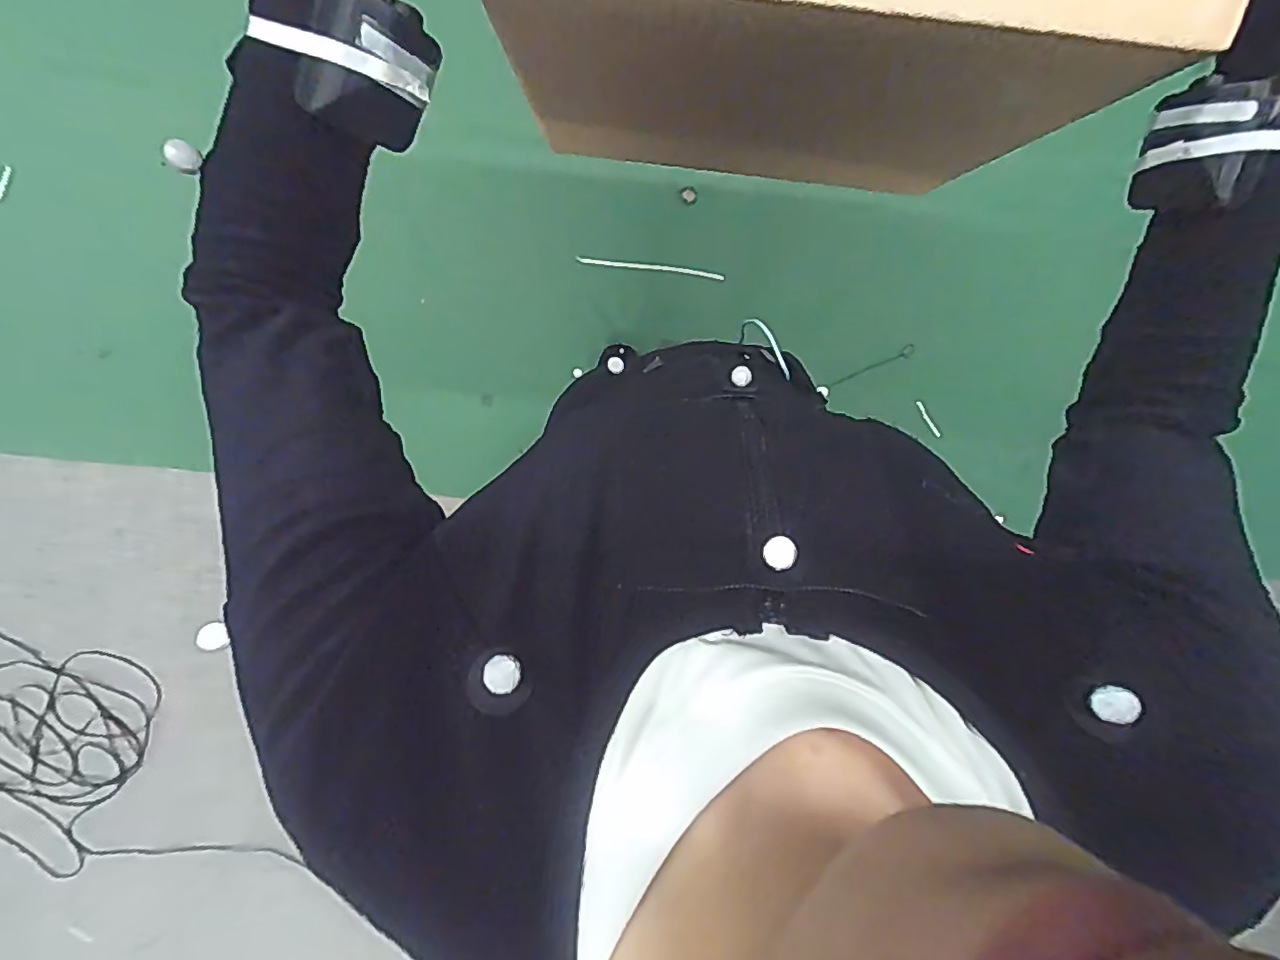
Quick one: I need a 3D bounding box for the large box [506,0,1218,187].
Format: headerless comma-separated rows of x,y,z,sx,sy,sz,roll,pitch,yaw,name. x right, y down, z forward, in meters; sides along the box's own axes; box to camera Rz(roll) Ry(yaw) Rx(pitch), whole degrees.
0.123,-0.438,0.397,0.408,0.320,0.320,5,105,-3,large box
